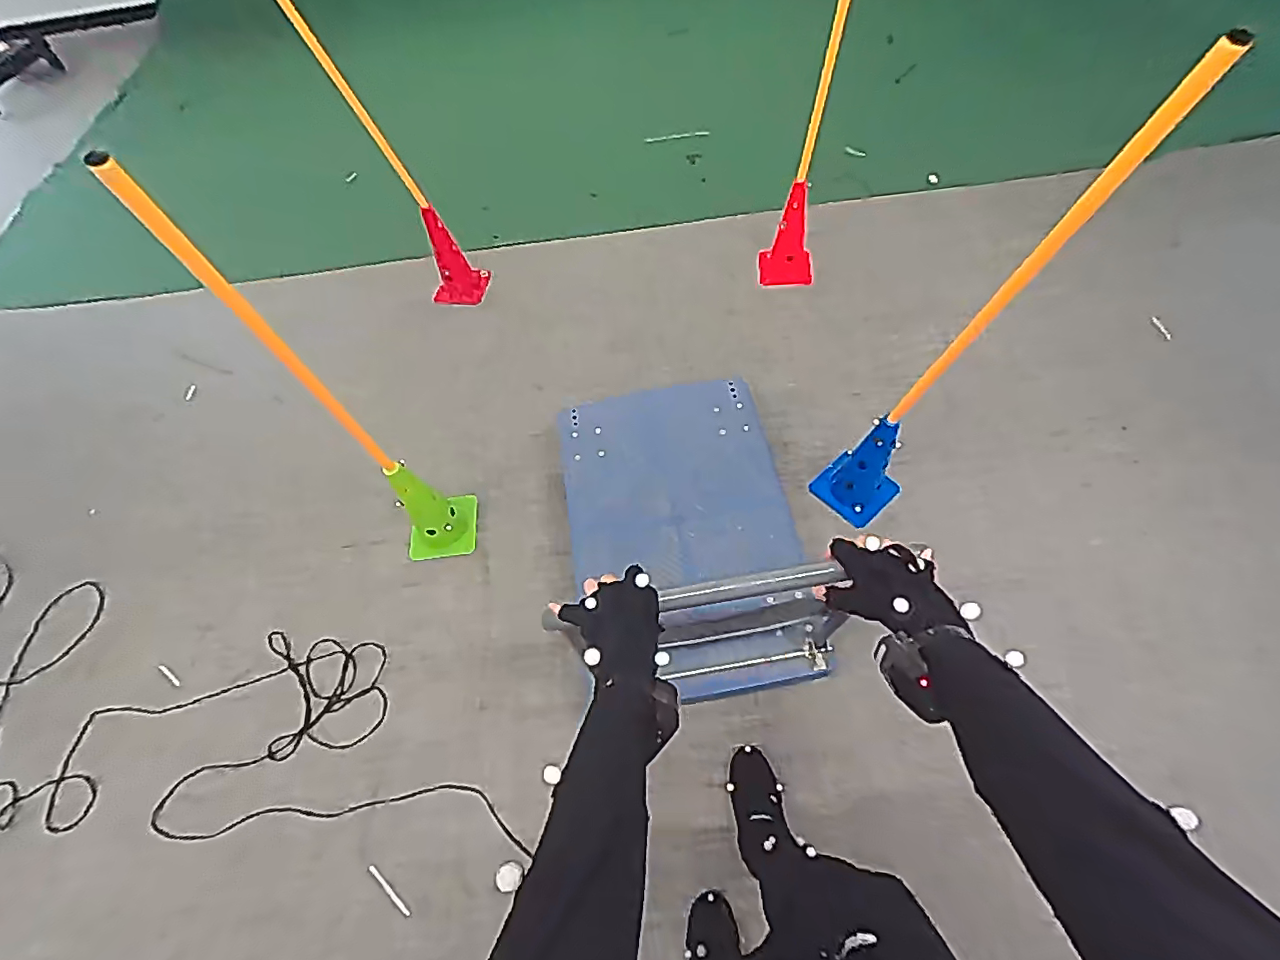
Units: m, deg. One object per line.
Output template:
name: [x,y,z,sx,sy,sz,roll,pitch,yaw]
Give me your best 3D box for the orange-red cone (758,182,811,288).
orange-red cone: [0.547,-0.900,1.961,0.198,0.360,0.199,3,61,8]
